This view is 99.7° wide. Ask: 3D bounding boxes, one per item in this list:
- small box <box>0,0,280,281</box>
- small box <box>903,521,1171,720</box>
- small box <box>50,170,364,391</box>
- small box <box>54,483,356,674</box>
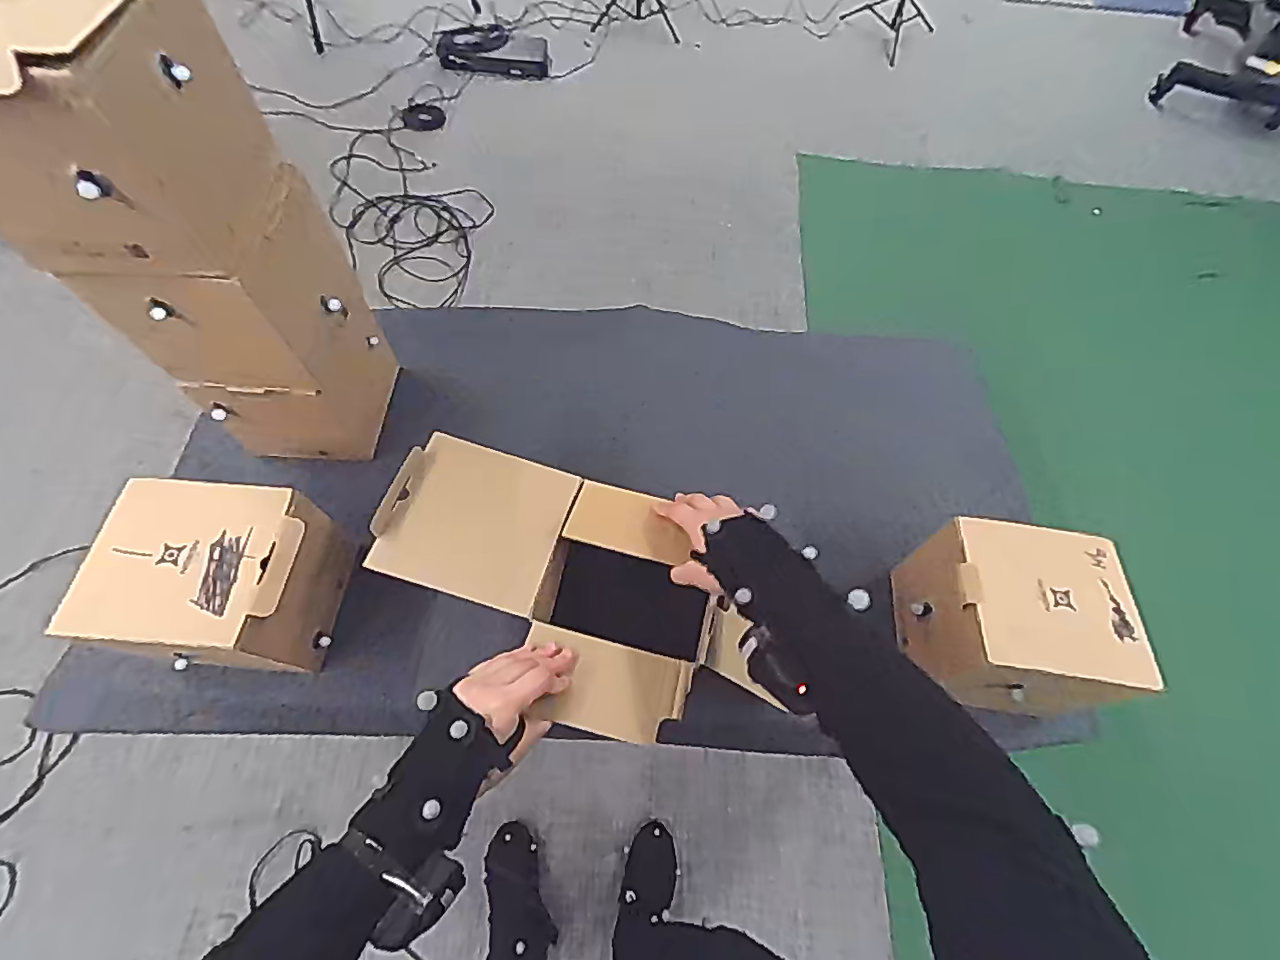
[{"bbox_3d":[-0.438,-0.286,0.444,0.168,0.176,0.179,1,62,-4],"label":"small box"},{"bbox_3d":[0.423,0.167,0.621,0.179,0.176,0.168,8,58,2],"label":"small box"},{"bbox_3d":[-0.439,-0.213,0.589,0.179,0.176,0.168,4,64,-2],"label":"small box"},{"bbox_3d":[-0.452,0.118,0.604,0.179,0.176,0.168,4,63,-1],"label":"small box"}]
